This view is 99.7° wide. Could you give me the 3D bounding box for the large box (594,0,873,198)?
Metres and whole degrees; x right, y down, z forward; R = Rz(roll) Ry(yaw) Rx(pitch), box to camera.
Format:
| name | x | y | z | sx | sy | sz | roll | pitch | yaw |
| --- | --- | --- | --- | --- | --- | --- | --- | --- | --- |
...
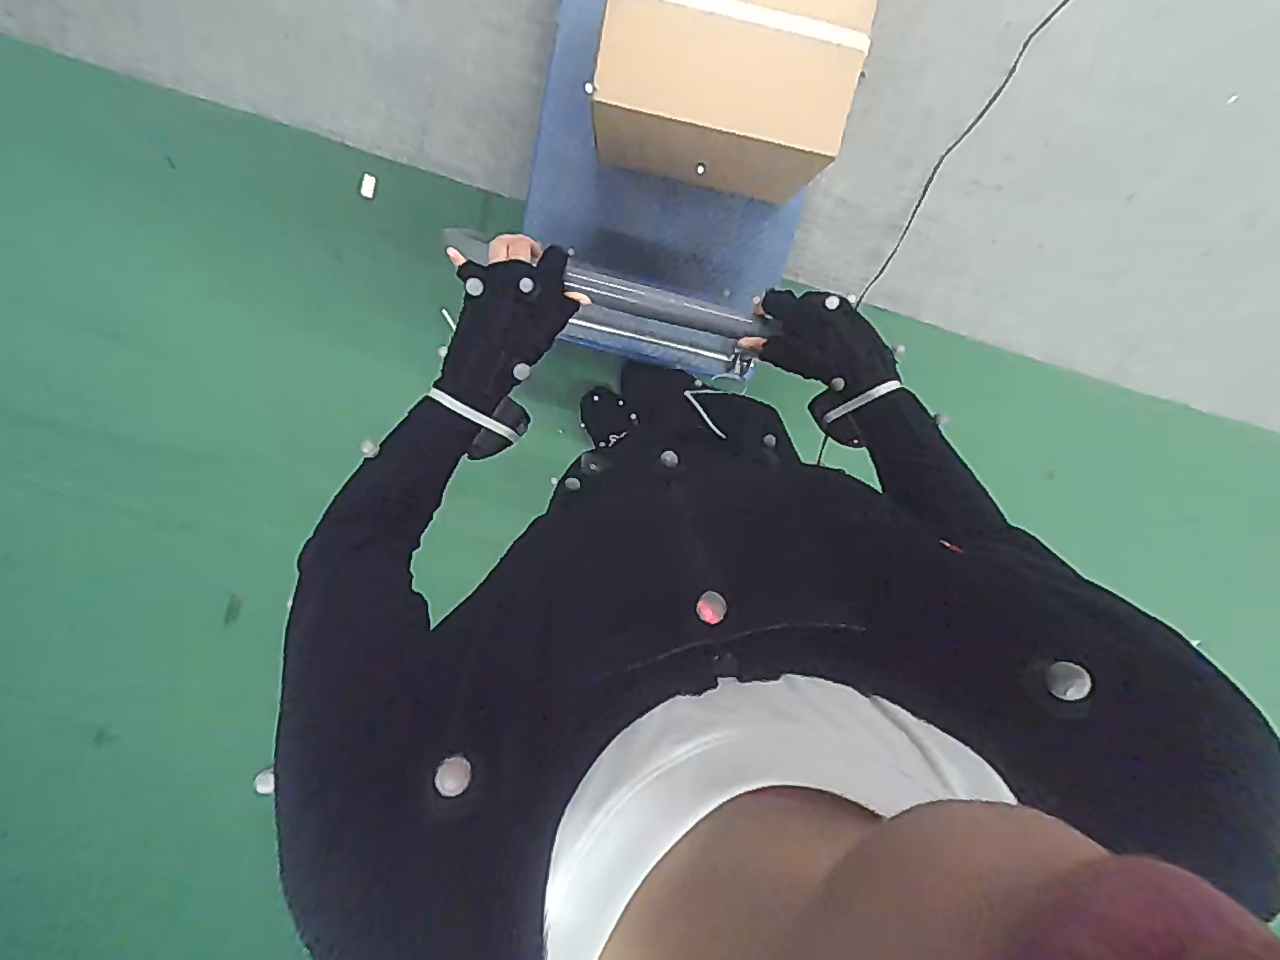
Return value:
| name | x | y | z | sx | sy | sz | roll | pitch | yaw |
| --- | --- | --- | --- | --- | --- | --- | --- | --- | --- |
| large box | 0.147 | -0.740 | 0.968 | 0.408 | 0.320 | 0.320 | 10 | 103 | -4 |
